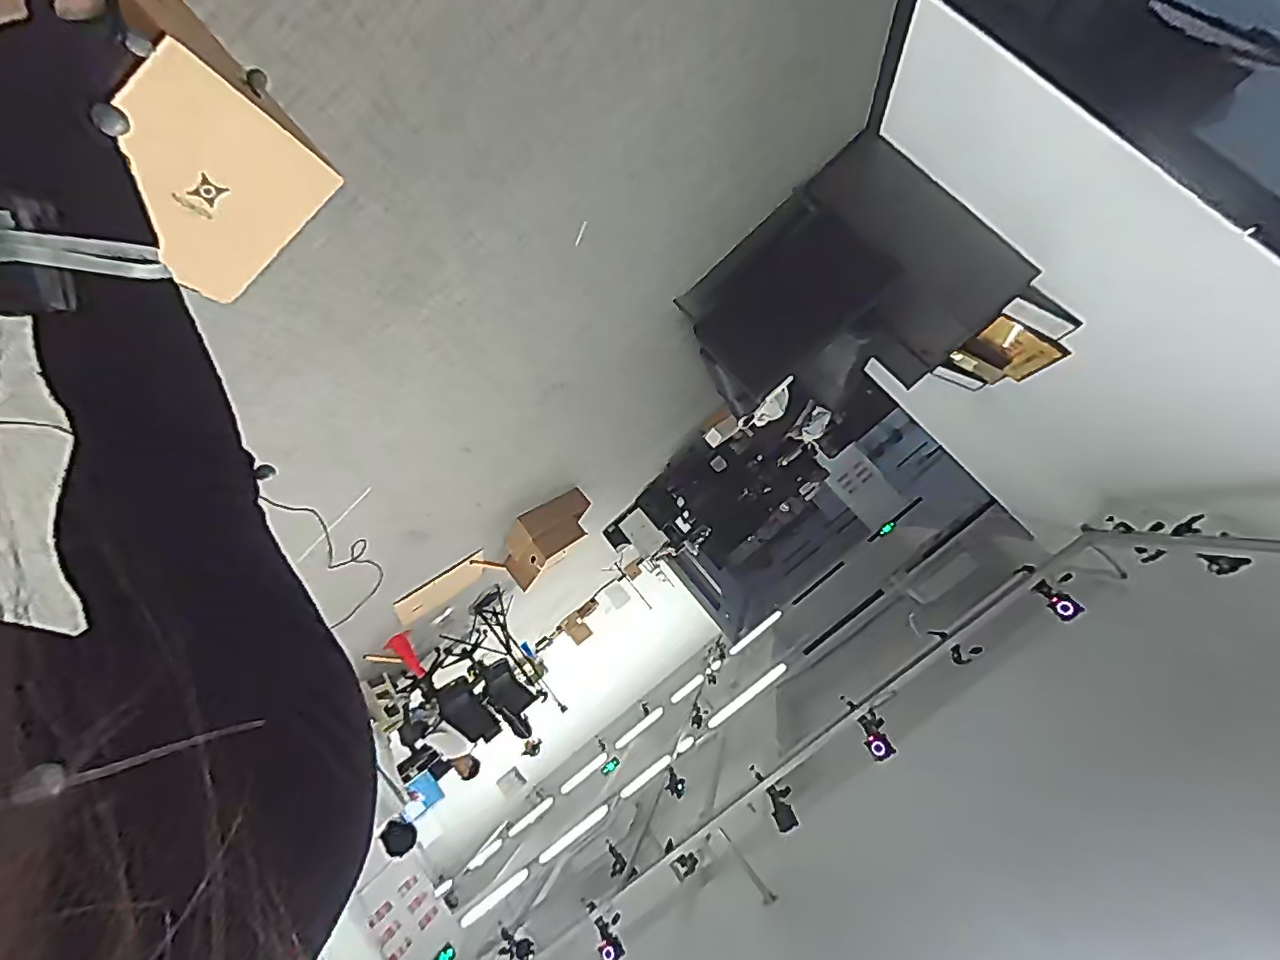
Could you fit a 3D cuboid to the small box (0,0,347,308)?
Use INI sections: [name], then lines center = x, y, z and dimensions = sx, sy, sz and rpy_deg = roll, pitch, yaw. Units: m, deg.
[small box]
center = -0.412, -0.293, 0.467
dimensions = 0.179, 0.176, 0.168
rpy_deg = -42, 169, 7
